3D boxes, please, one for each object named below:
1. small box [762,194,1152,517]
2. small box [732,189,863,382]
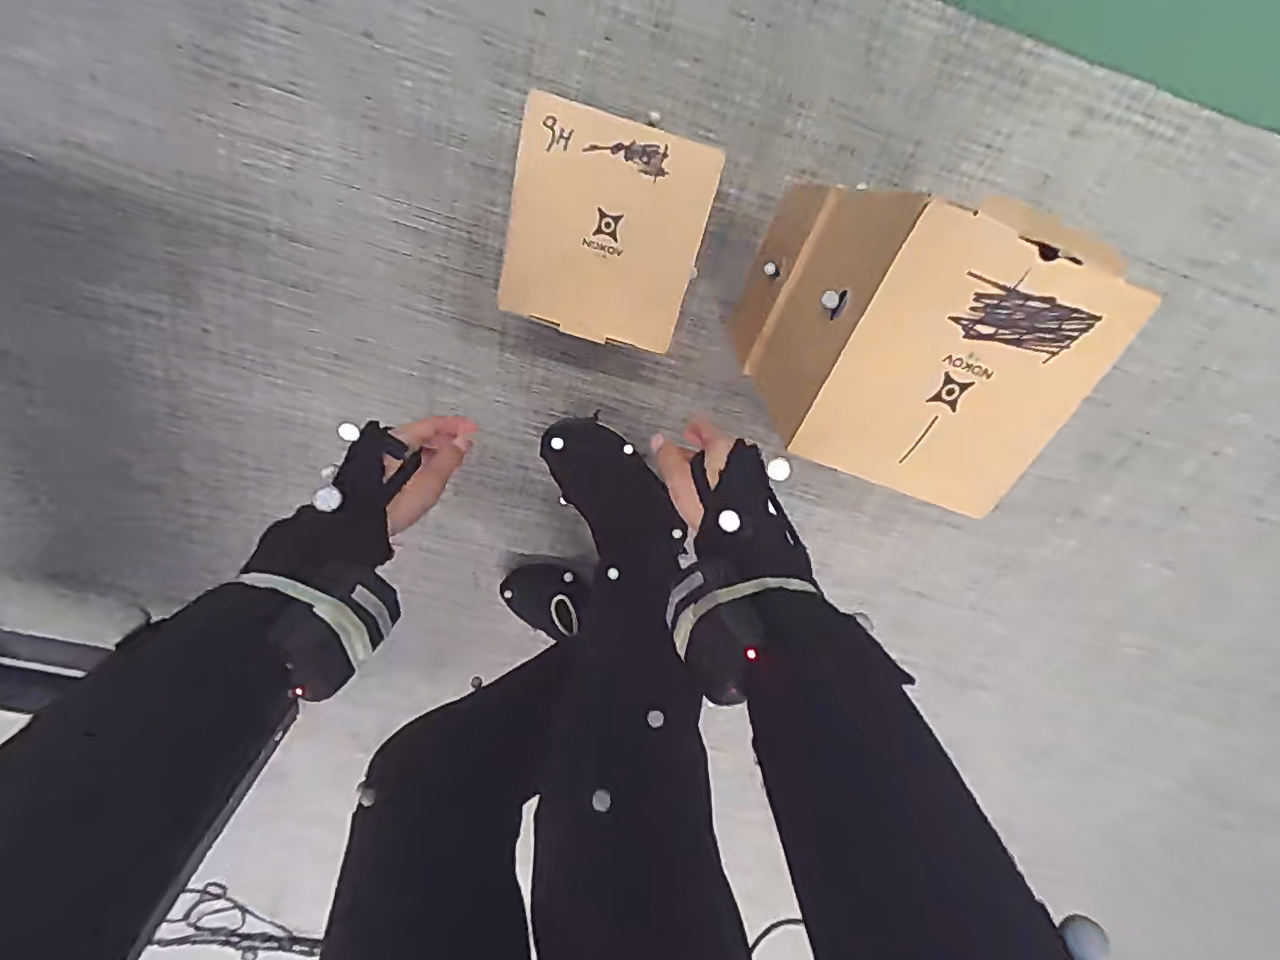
[{"bbox_3d":[0.213,-0.106,0.428,0.168,0.176,0.179,19,118,-8],"label":"small box"},{"bbox_3d":[0.209,-0.187,0.571,0.168,0.176,0.179,19,118,-8],"label":"small box"}]
